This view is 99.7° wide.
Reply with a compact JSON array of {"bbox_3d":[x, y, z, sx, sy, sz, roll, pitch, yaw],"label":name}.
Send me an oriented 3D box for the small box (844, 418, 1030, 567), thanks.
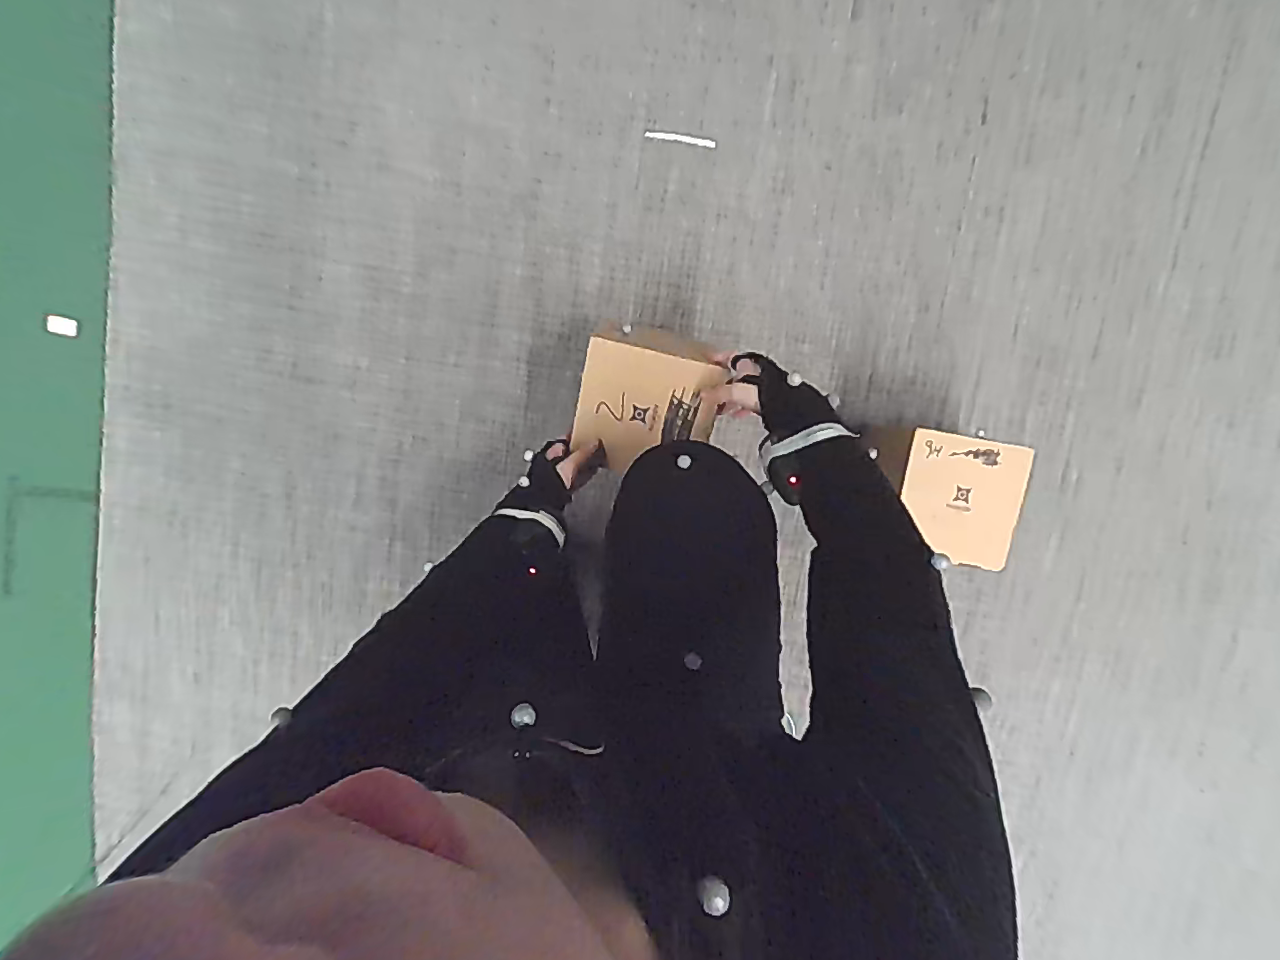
[{"bbox_3d":[0.427,0.009,0.813,0.168,0.176,0.179,11,98,-2],"label":"small box"}]
